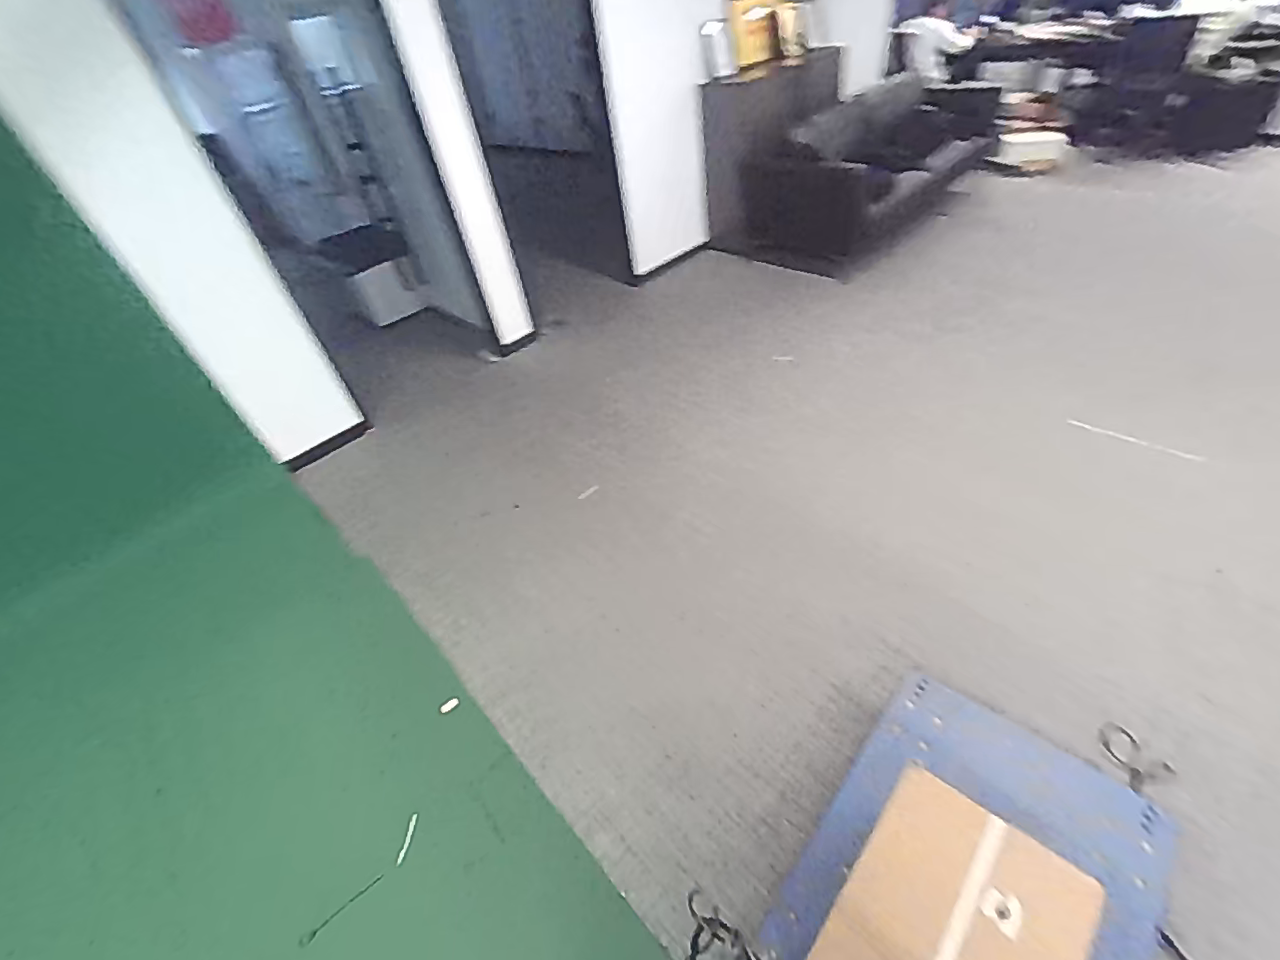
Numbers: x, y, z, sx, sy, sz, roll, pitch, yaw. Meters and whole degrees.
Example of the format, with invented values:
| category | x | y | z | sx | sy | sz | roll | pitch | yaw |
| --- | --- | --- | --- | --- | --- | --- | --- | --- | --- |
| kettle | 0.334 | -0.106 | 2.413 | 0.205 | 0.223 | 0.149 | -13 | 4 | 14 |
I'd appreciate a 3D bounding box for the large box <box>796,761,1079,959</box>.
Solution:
| category | x | y | z | sx | sy | sz | roll | pitch | yaw |
| --- | --- | --- | --- | --- | --- | --- | --- | --- | --- |
| large box | 0.507 | 0.829 | 0.977 | 0.320 | 0.320 | 0.408 | 27 | 53 | 34 |
